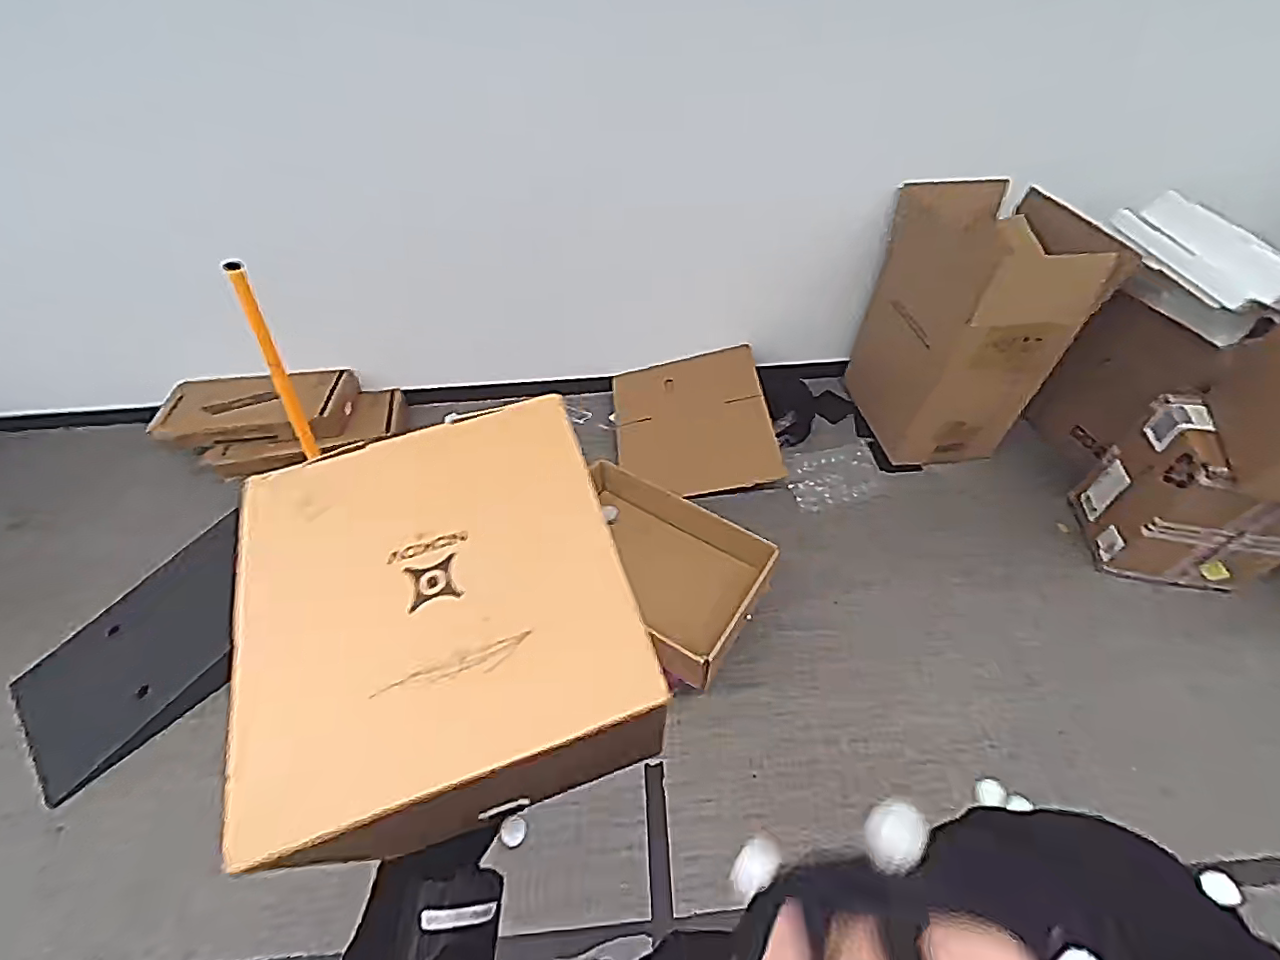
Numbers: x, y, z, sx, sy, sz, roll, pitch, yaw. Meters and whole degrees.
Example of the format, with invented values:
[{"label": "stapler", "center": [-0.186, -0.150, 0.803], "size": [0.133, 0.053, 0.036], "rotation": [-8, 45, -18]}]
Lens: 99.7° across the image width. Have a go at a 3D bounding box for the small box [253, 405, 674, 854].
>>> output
[{"label": "small box", "center": [-0.089, 0.090, 0.320], "size": [0.168, 0.176, 0.179], "rotation": [-18, 59, -10]}]
